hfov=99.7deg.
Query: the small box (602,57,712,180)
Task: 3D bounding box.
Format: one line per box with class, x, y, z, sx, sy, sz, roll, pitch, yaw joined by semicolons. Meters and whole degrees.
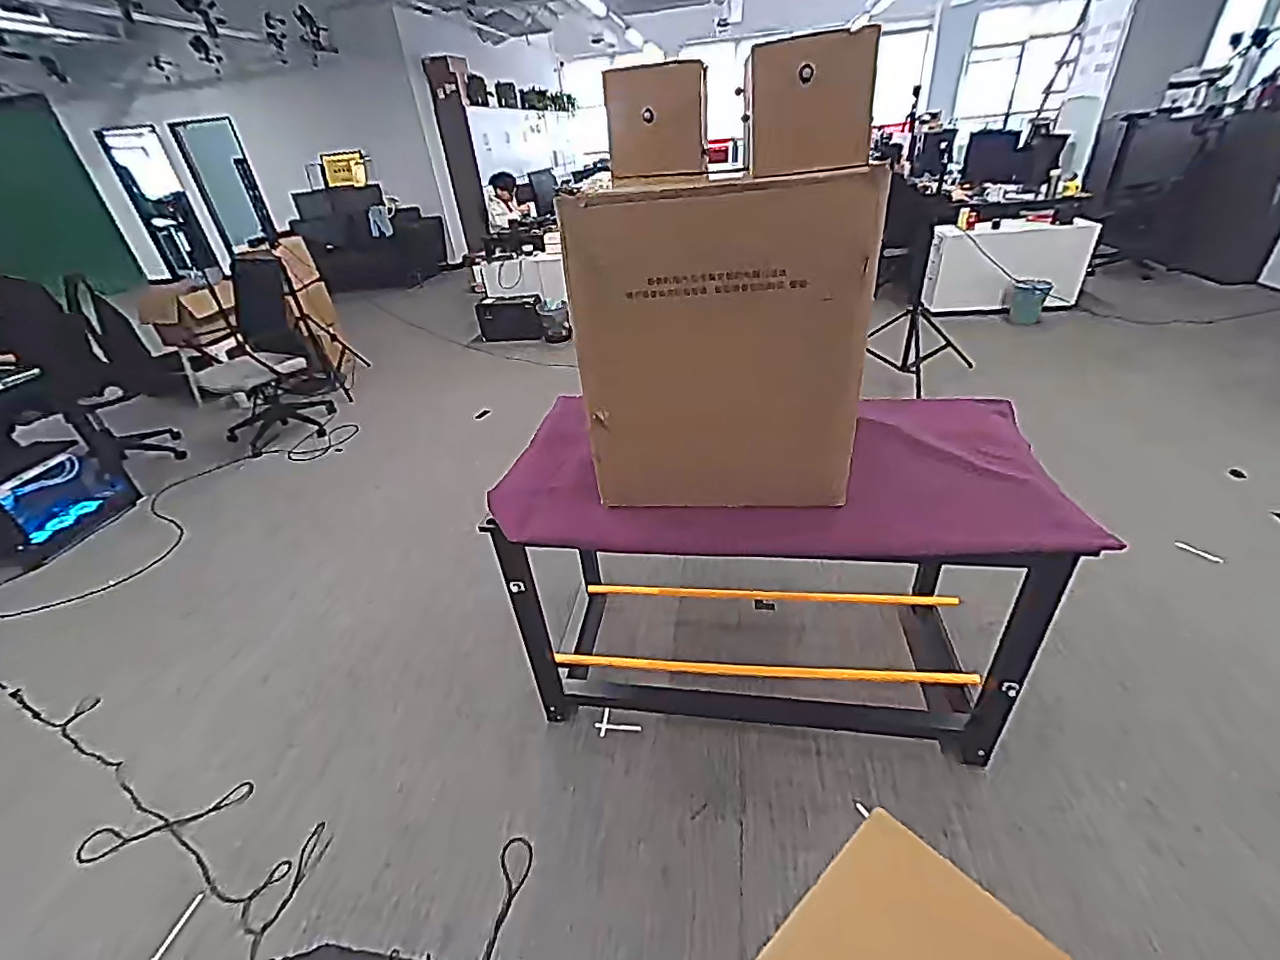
small box;0.041;-0.677;1.023;0.179;0.176;0.168;2;32;13
